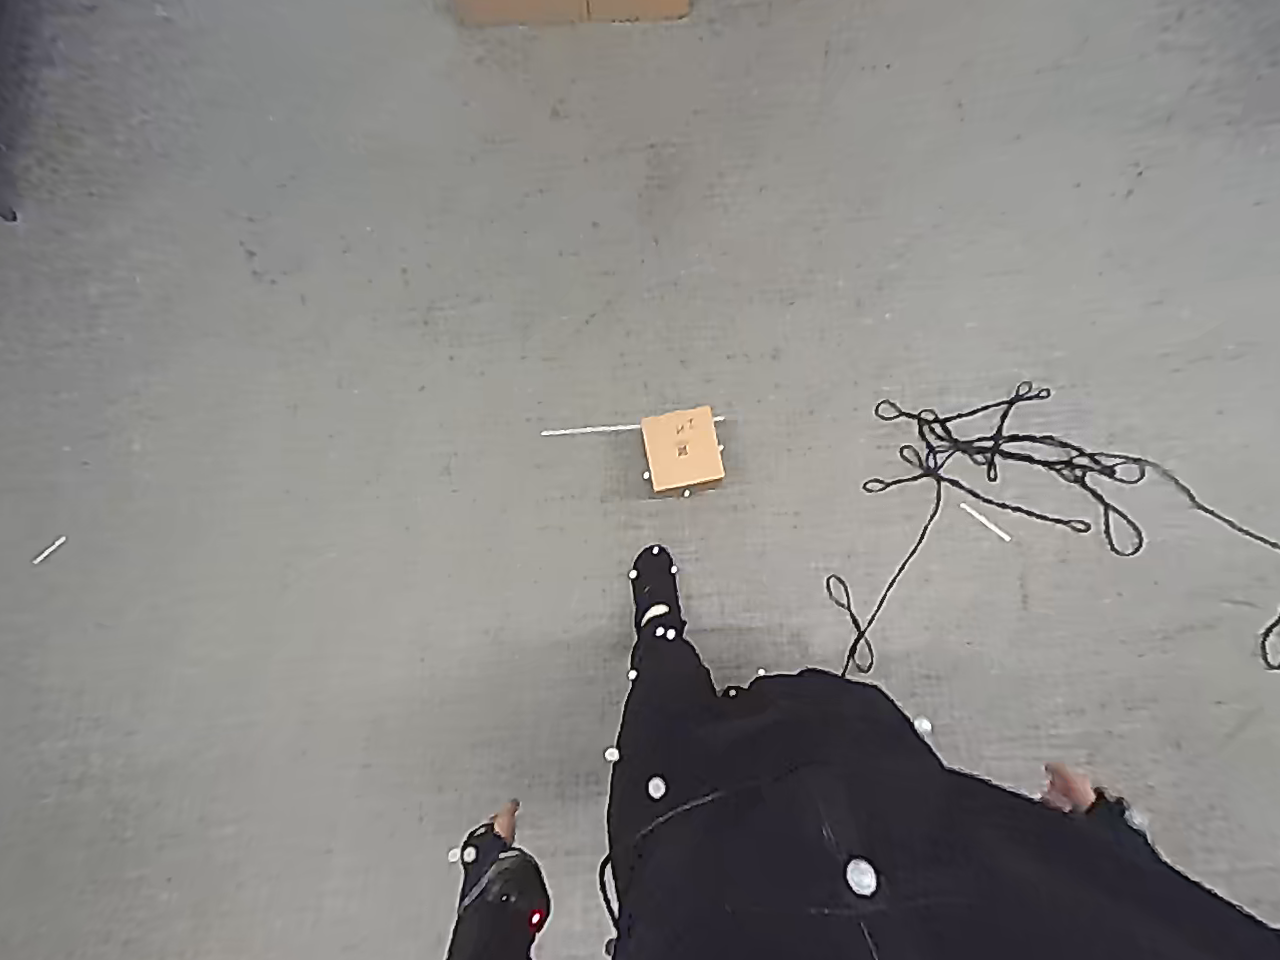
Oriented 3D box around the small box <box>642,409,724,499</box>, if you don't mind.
[{"bbox_3d":[0.102,-0.054,1.313,0.168,0.176,0.179,-11,80,1],"label":"small box"}]
